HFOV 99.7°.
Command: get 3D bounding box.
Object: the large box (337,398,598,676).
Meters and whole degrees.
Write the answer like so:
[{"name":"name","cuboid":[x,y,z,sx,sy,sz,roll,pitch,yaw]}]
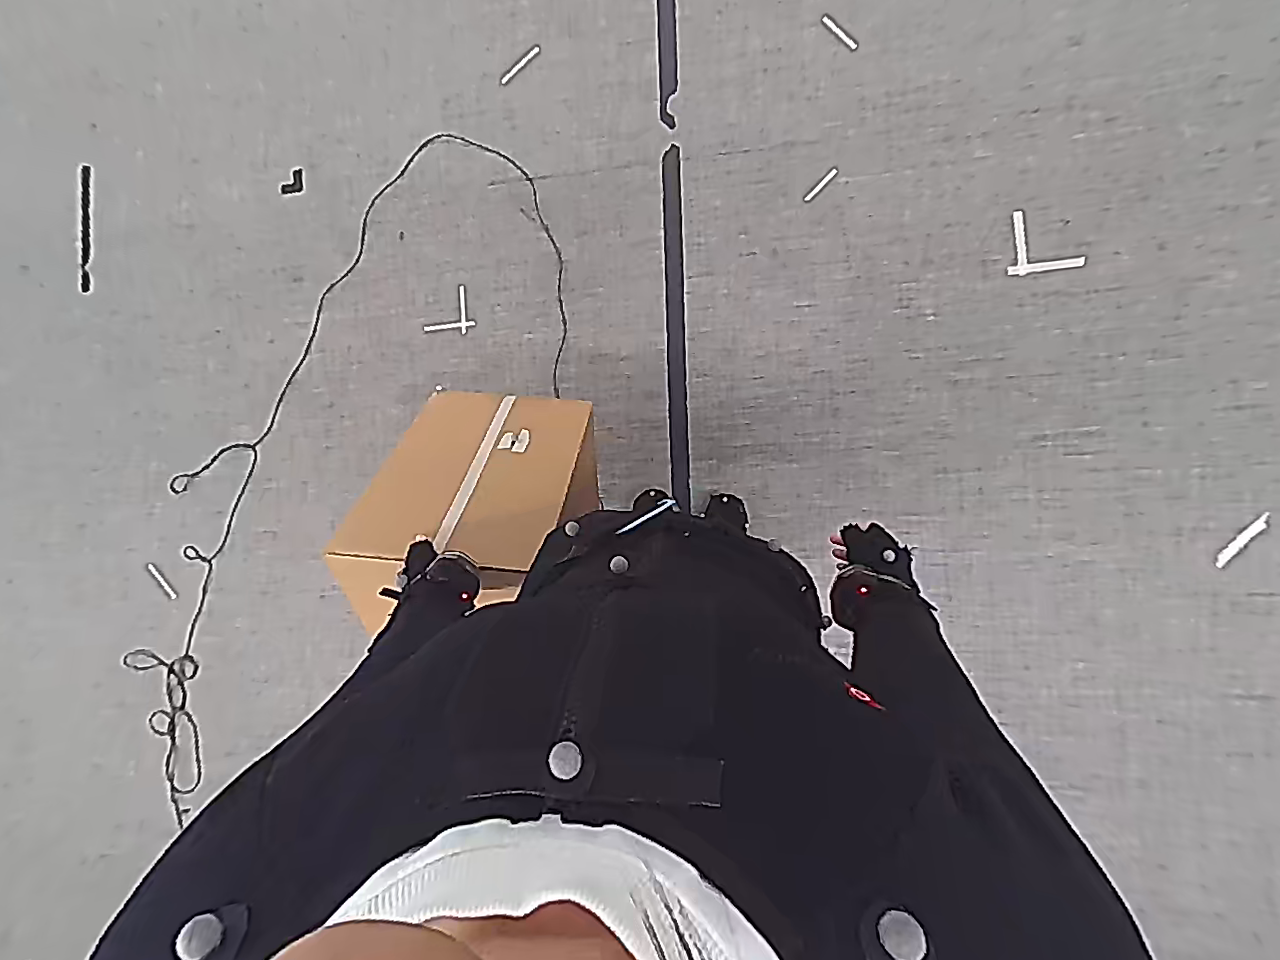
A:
[{"name":"large box","cuboid":[-0.261,0.095,0.990,0.320,0.408,0.320,5,132,3]}]
